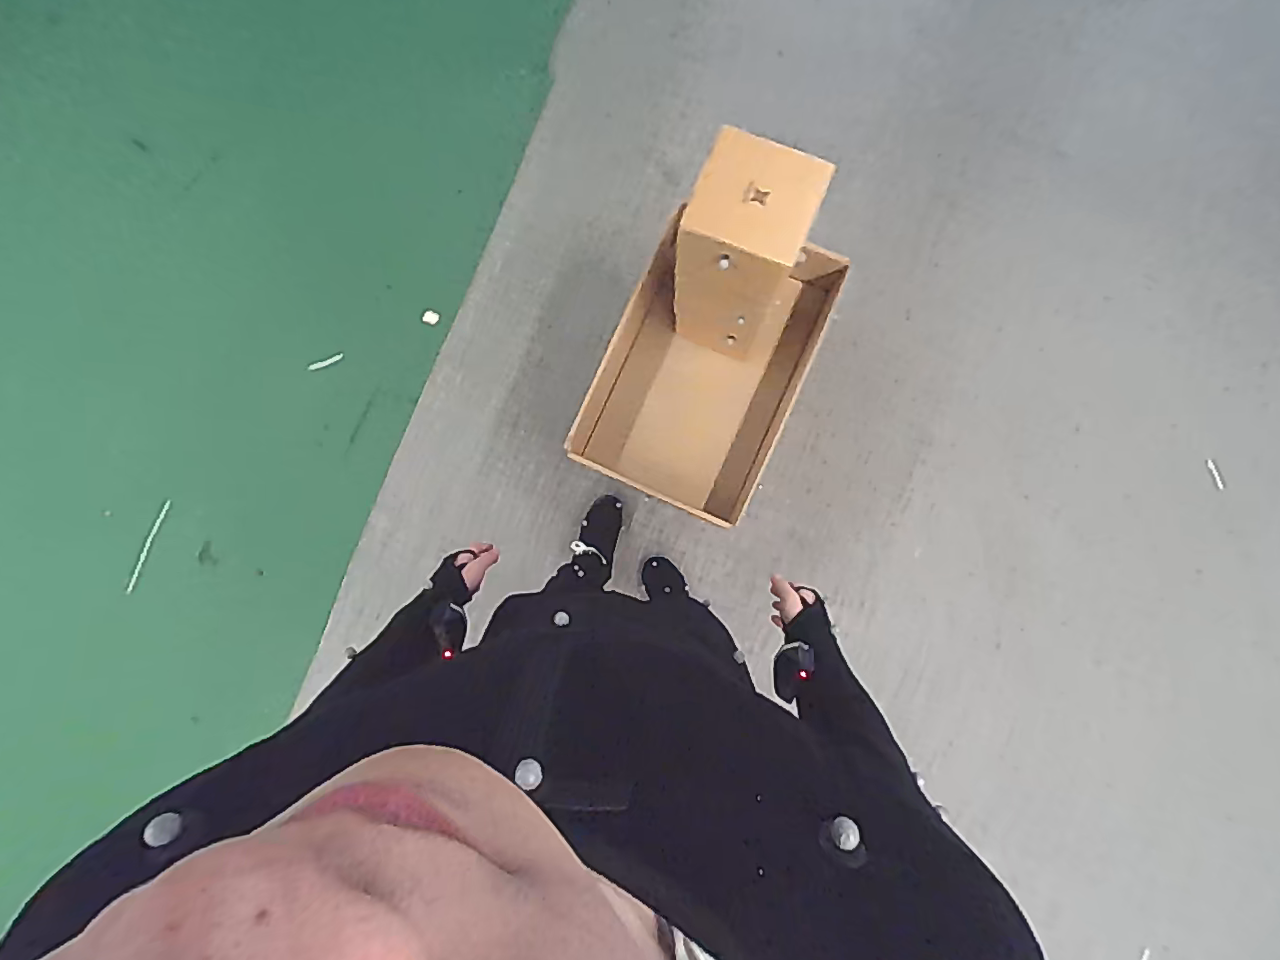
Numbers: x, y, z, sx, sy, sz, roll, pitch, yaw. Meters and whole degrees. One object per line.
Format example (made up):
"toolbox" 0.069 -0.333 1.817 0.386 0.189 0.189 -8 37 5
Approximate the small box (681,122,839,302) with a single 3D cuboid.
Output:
"small box" 0.175 -0.401 0.844 0.179 0.176 0.168 23 88 4
